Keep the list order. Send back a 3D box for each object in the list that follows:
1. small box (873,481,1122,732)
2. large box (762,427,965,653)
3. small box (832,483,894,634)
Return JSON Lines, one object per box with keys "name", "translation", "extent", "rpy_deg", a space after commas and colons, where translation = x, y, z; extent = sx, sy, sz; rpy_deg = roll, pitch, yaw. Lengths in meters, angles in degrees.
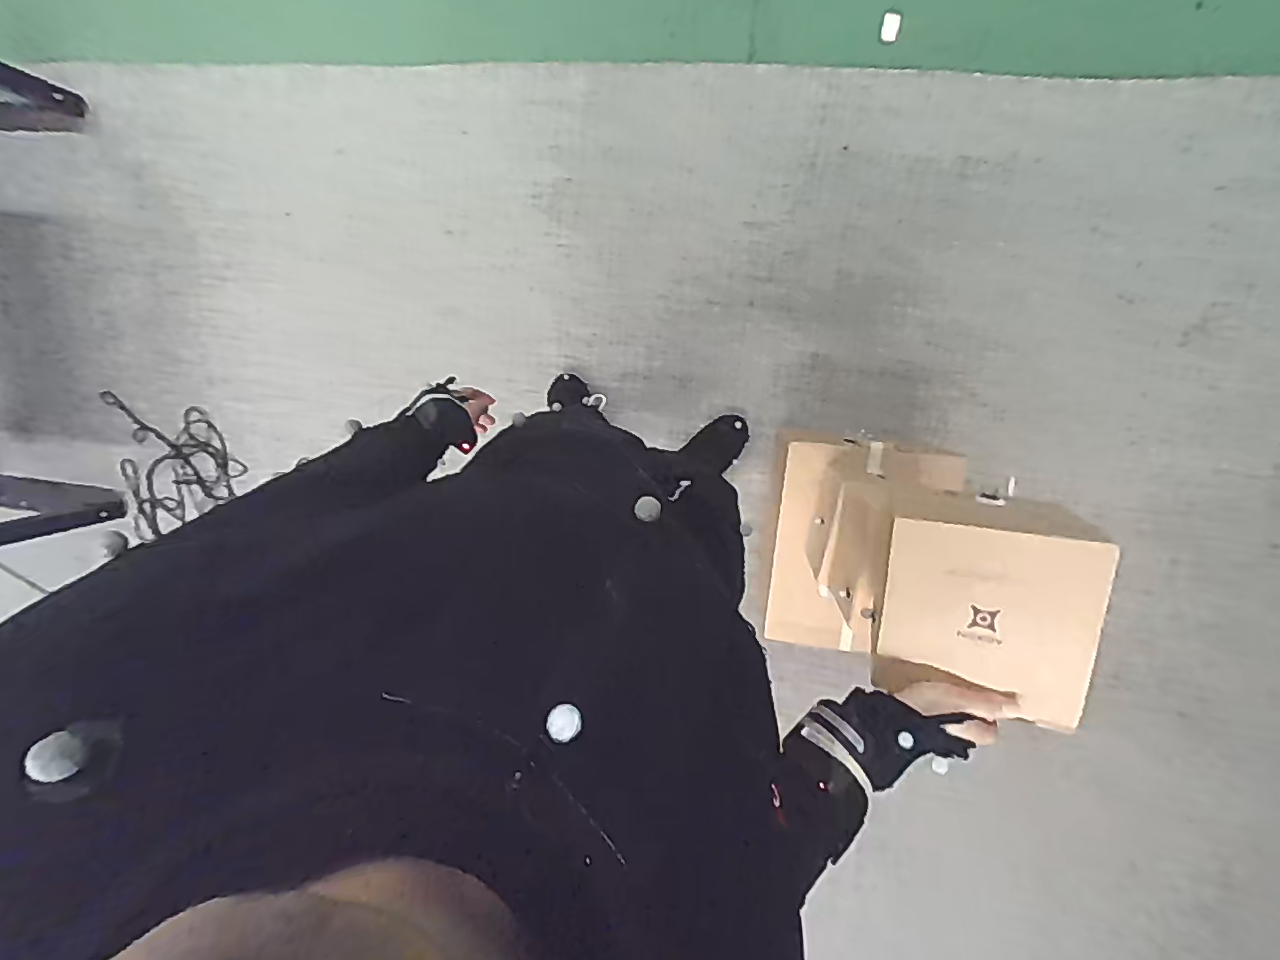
{"name": "small box", "translation": [0.334, 0.108, 0.543], "extent": [0.168, 0.176, 0.179], "rpy_deg": [6, 103, 23]}
{"name": "large box", "translation": [0.444, 0.107, 1.166], "extent": [0.320, 0.320, 0.408], "rpy_deg": [6, 103, 10]}
{"name": "small box", "translation": [0.378, 0.108, 0.757], "extent": [0.168, 0.176, 0.179], "rpy_deg": [7, 102, 8]}
